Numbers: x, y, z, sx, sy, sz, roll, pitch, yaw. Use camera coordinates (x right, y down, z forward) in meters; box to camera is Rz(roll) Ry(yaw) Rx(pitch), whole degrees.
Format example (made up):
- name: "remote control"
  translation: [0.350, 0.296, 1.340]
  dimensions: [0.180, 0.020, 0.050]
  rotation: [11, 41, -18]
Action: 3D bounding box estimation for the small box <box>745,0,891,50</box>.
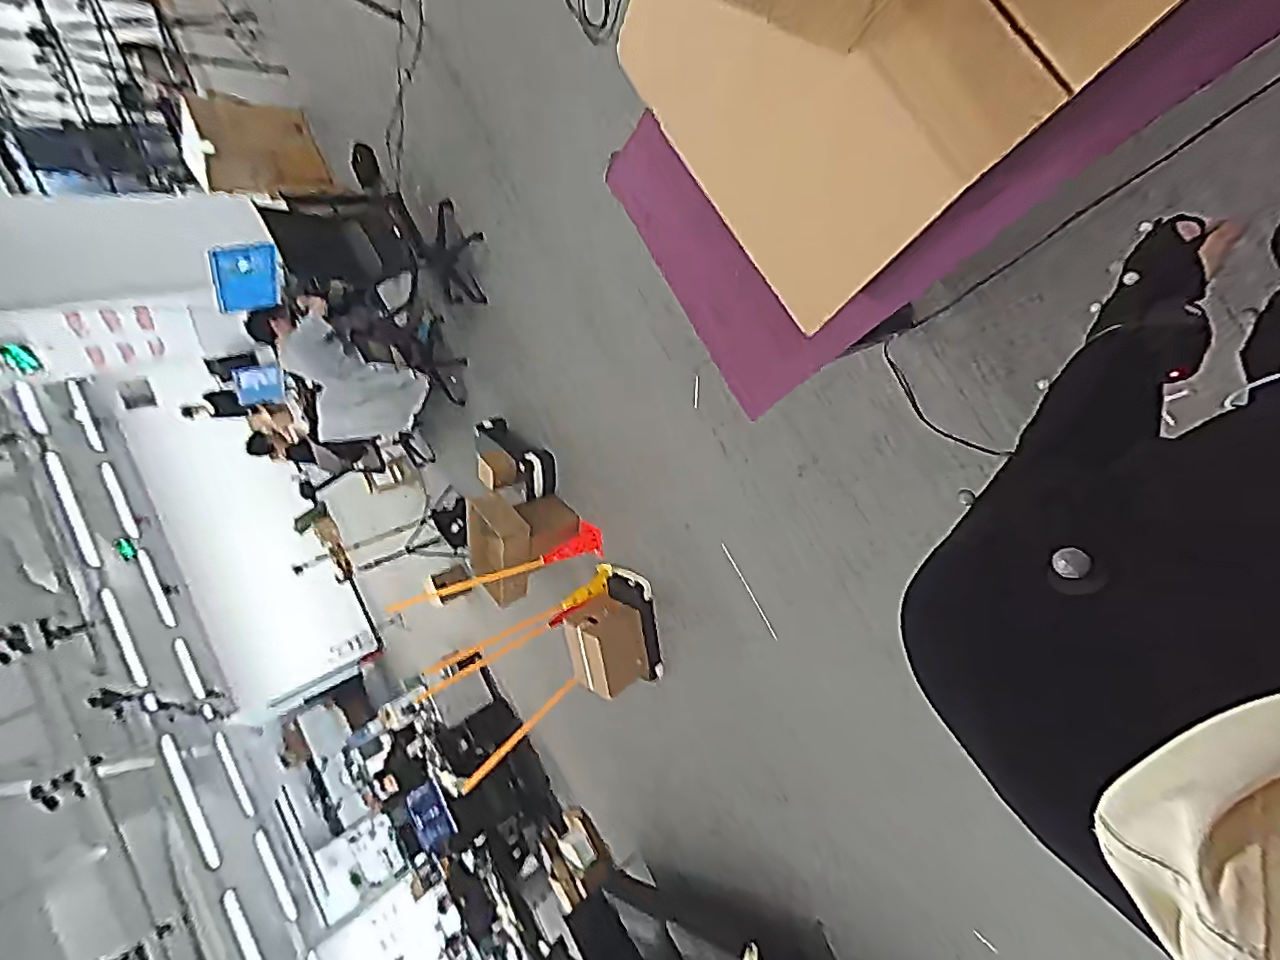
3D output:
- name: "small box"
  translation: [0.184, -0.583, 0.546]
  dimensions: [0.179, 0.176, 0.168]
  rotation: [59, 140, 8]
